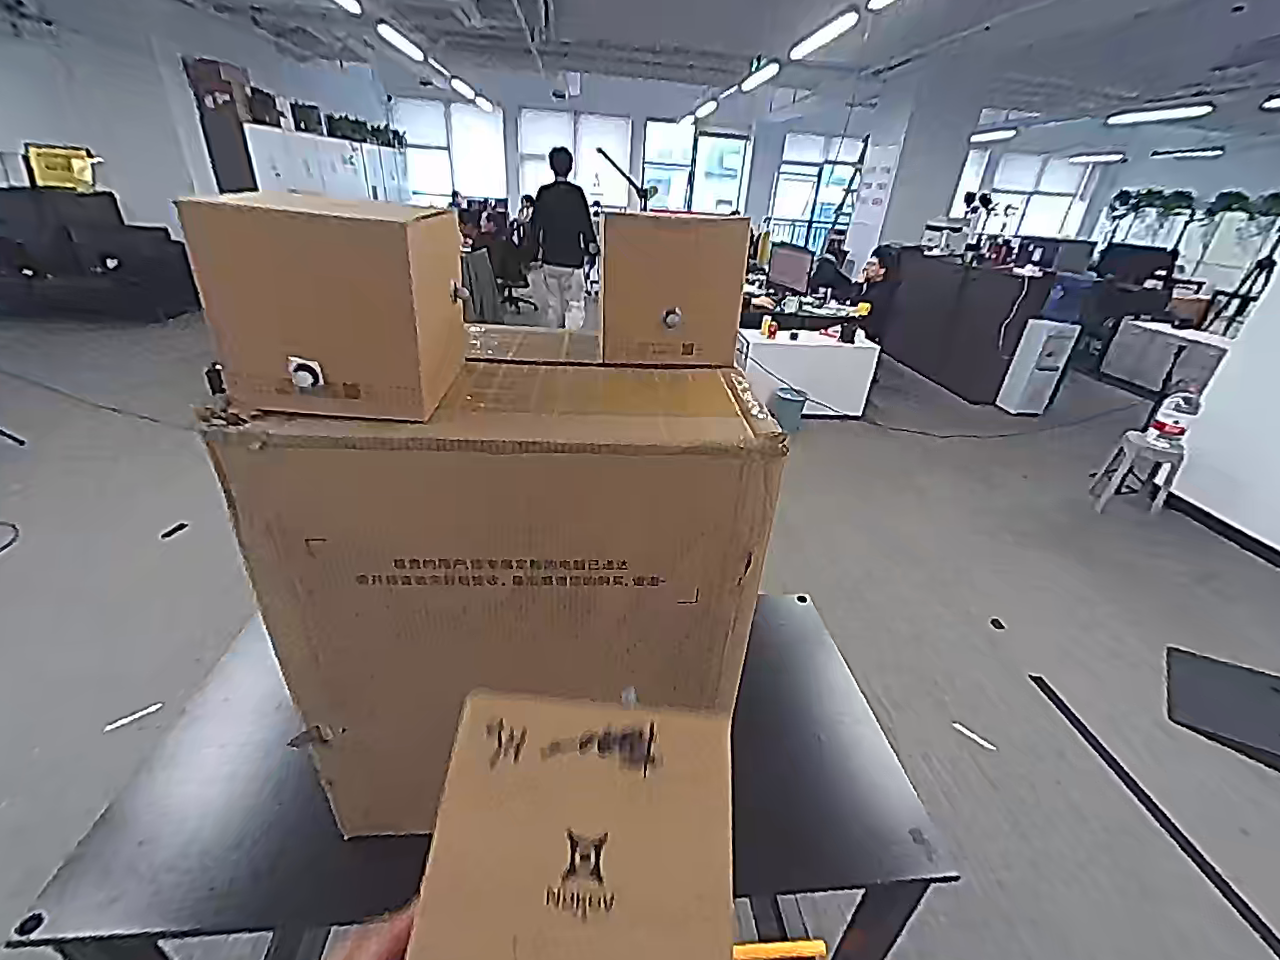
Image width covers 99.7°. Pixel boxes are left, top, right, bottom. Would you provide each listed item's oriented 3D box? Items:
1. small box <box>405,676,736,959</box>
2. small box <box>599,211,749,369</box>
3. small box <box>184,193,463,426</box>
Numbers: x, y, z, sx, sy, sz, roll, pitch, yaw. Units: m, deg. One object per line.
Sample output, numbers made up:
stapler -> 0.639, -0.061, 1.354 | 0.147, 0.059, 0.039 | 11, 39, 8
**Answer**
small box -> -0.035, 0.240, 0.357 | 0.168, 0.176, 0.179 | 6, 61, -2
small box -> 0.031, -0.250, 0.706 | 0.168, 0.176, 0.179 | 0, 26, -6
small box -> -0.268, -0.165, 0.512 | 0.168, 0.176, 0.179 | 2, 30, -7
